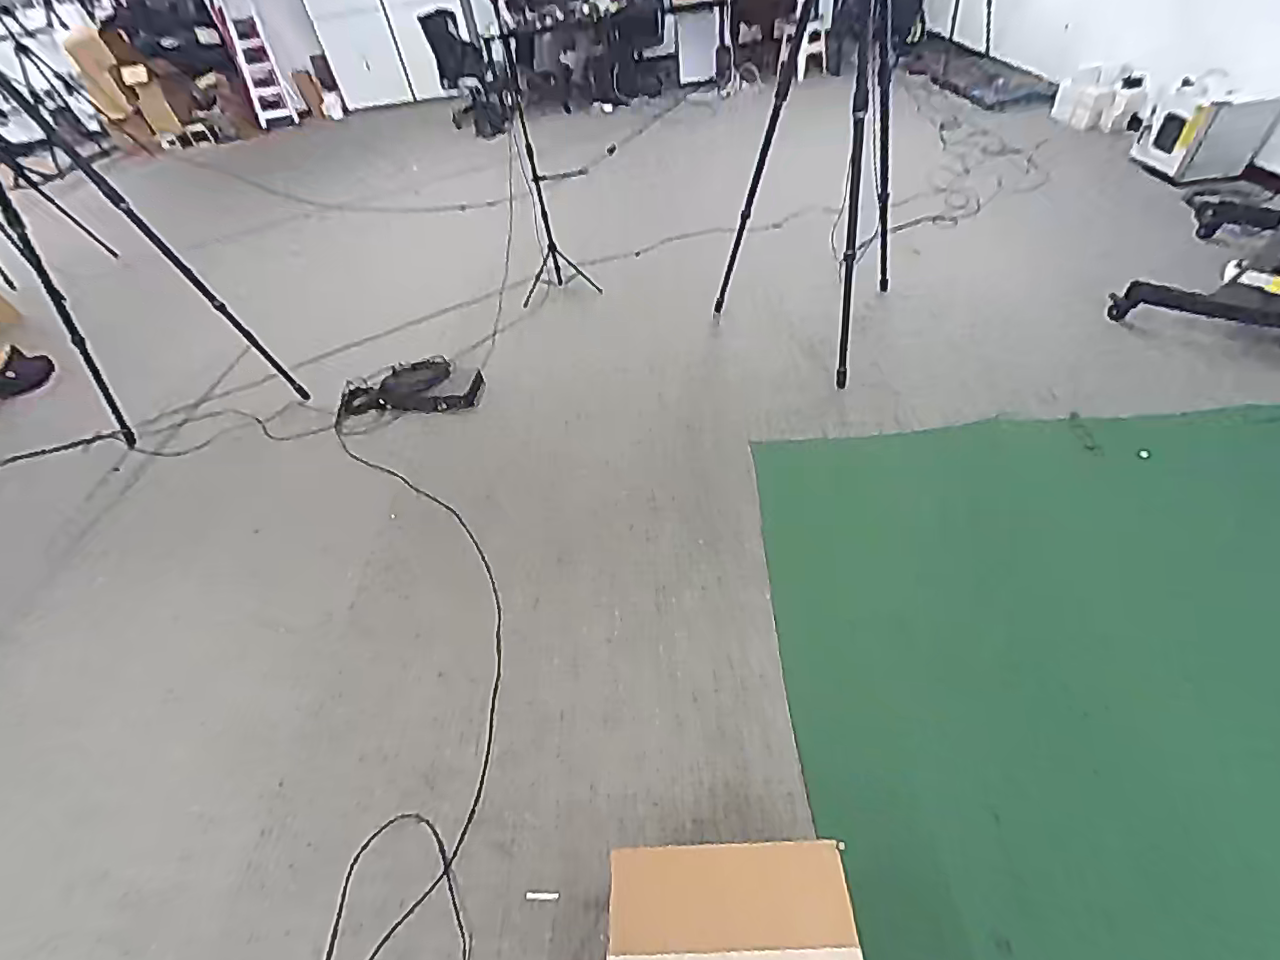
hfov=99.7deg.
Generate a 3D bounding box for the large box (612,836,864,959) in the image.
[{"bbox_3d":[0.166,0.863,0.967,0.408,0.320,0.320,-5,46,3],"label":"large box"}]
